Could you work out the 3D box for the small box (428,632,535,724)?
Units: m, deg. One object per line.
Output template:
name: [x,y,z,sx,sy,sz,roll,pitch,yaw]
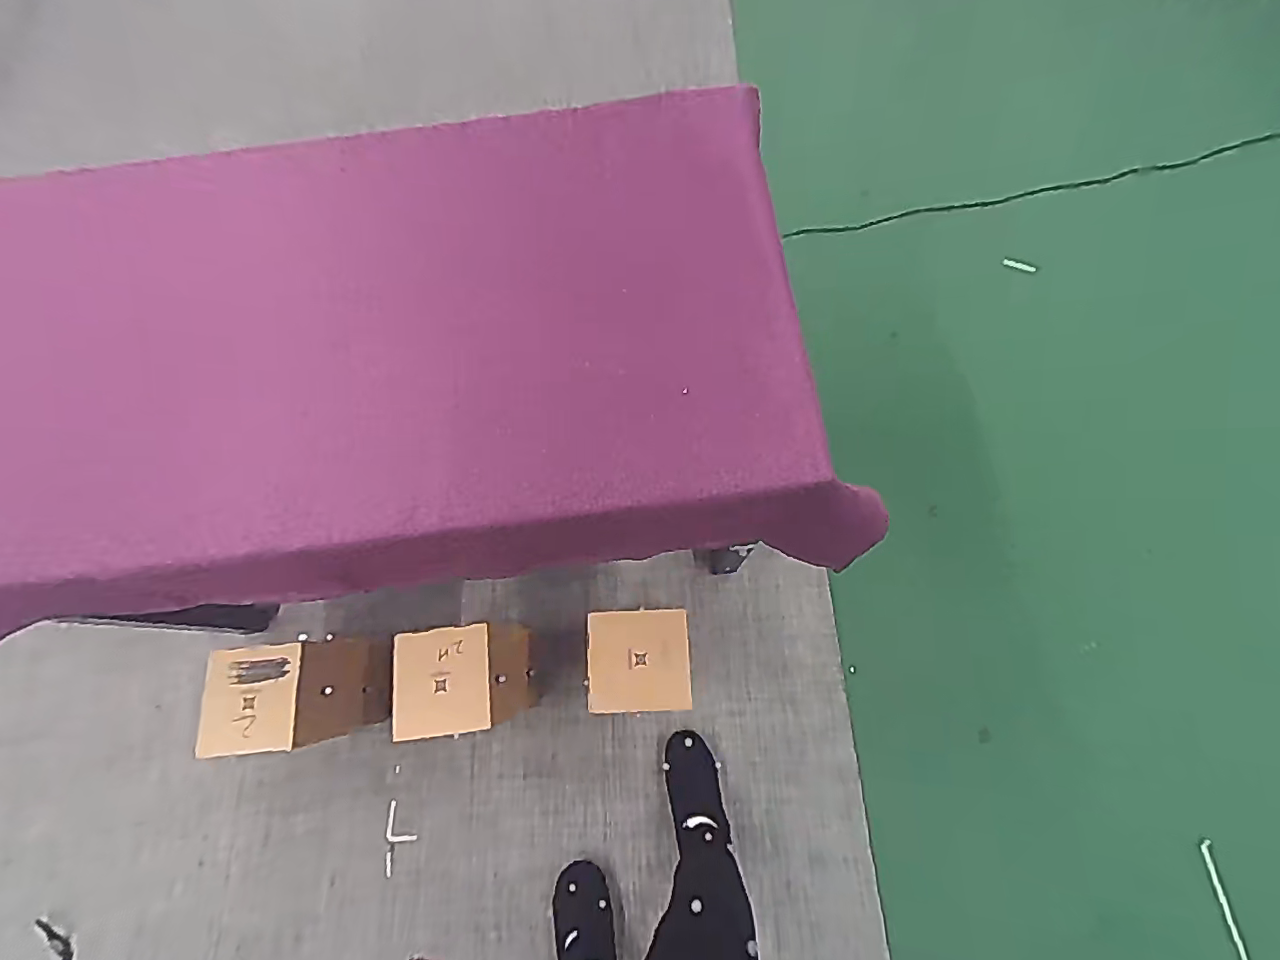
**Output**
small box: [-0.333,0.423,1.161,0.179,0.176,0.168,-6,71,0]
